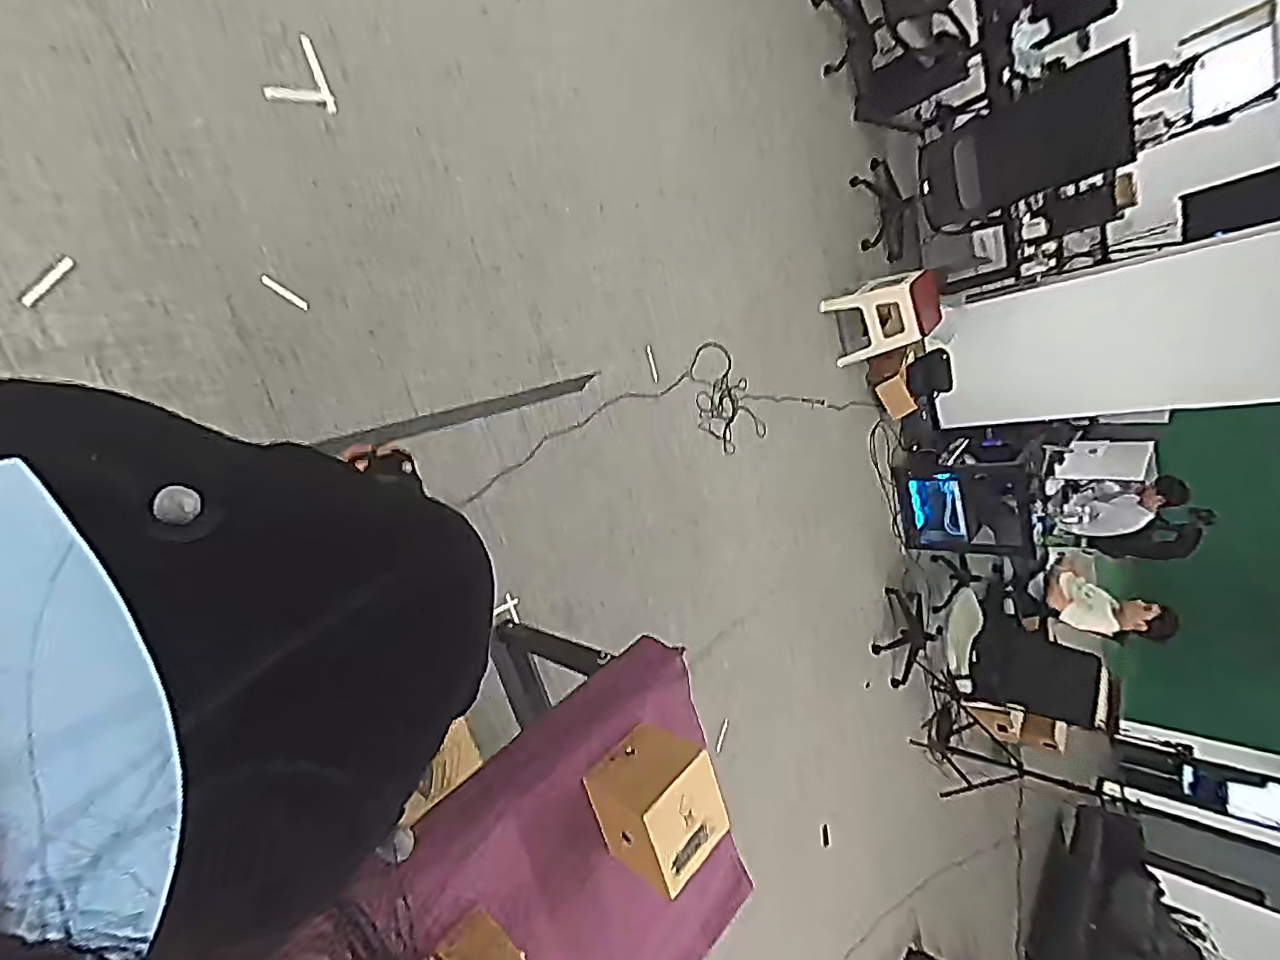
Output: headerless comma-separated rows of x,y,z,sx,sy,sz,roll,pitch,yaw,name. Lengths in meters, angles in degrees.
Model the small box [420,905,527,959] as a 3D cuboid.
-0.231,0.755,0.741,0.179,0.176,0.168,-28,110,-39,small box
